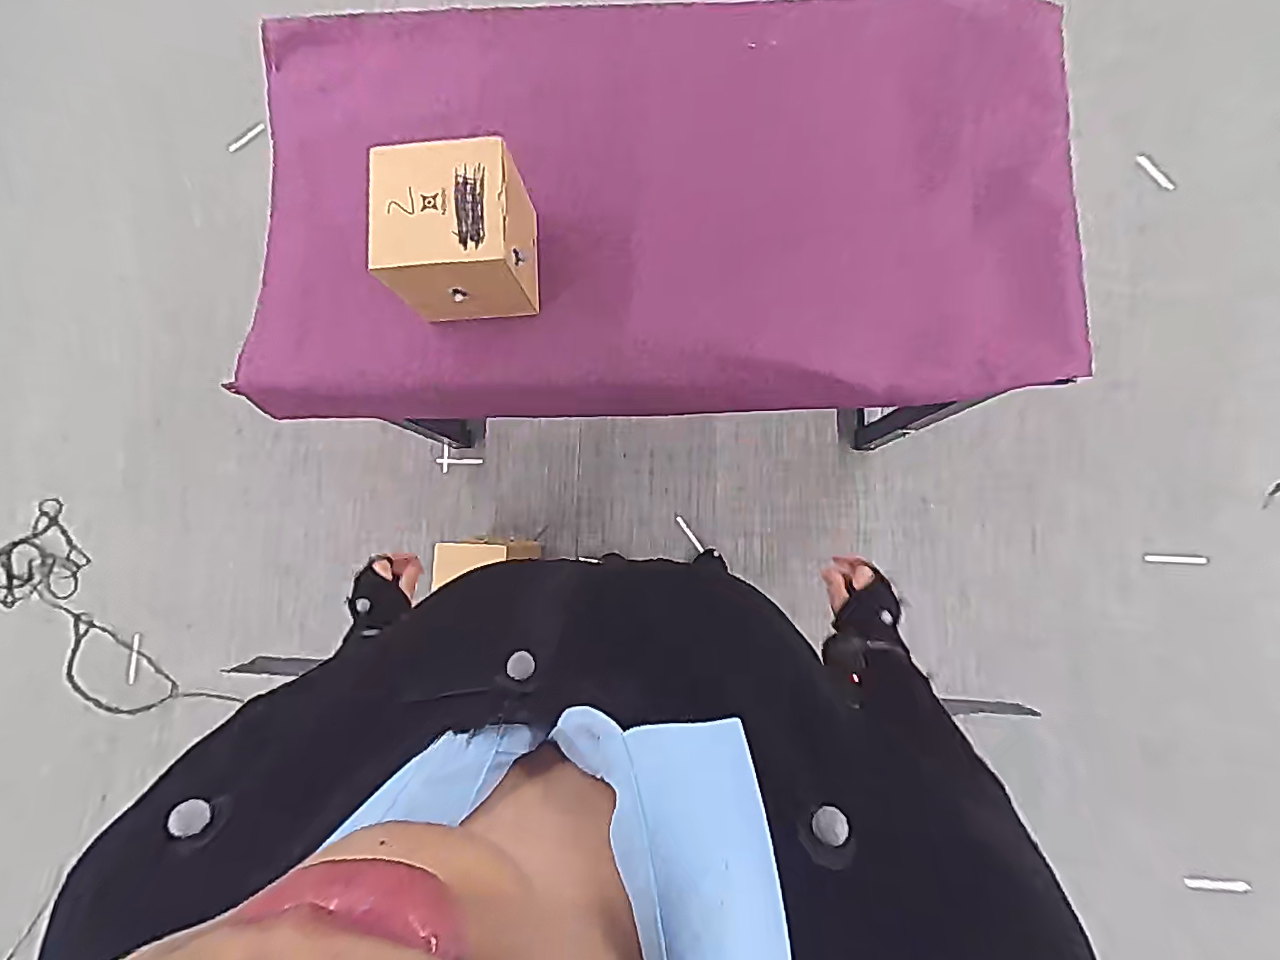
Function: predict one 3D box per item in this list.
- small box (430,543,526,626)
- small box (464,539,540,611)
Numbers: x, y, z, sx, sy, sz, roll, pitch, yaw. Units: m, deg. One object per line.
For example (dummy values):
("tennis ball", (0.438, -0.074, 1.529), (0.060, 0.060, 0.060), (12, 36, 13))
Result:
("small box", (-0.372, 0.239, 1.271), (0.168, 0.176, 0.179), (2, 84, 3))
("small box", (-0.371, 0.253, 1.435), (0.168, 0.176, 0.179), (7, 84, 3))
